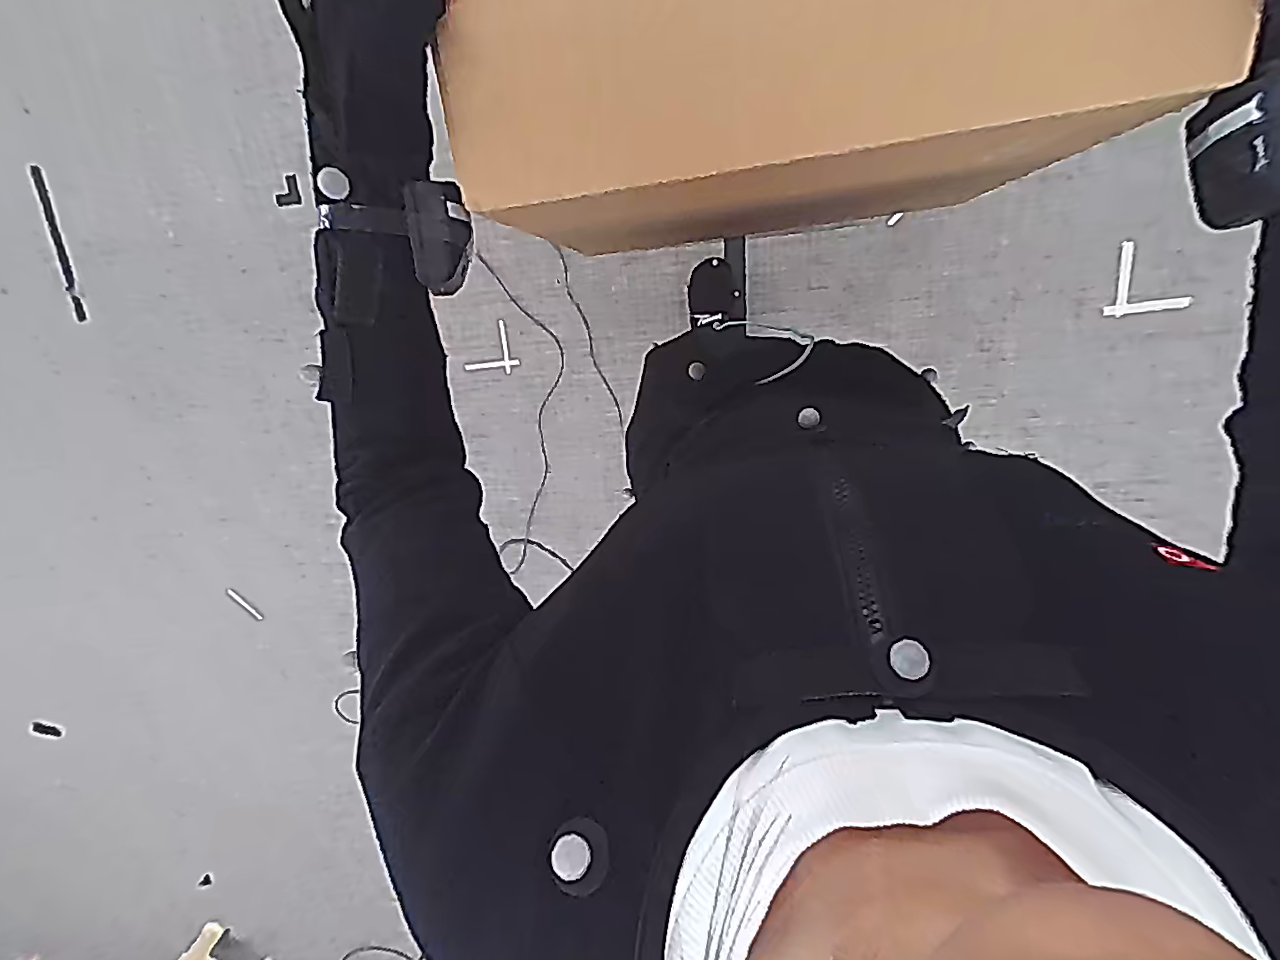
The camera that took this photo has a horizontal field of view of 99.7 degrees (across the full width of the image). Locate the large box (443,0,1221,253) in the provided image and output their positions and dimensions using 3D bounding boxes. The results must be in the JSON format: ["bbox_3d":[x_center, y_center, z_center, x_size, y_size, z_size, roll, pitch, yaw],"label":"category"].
[{"bbox_3d":[0.093,-0.379,0.405,0.408,0.320,0.320,-5,107,9],"label":"large box"}]
